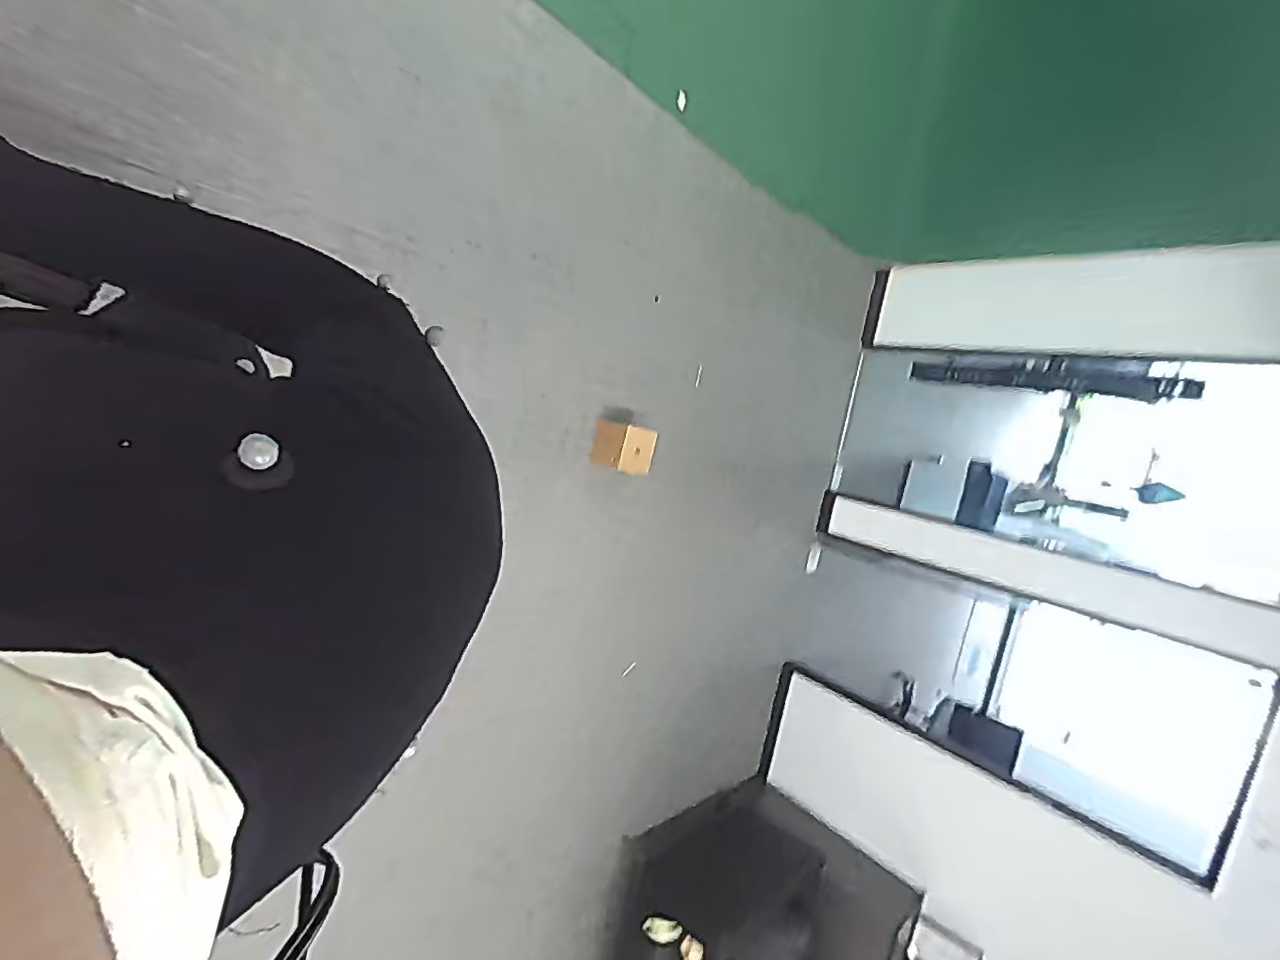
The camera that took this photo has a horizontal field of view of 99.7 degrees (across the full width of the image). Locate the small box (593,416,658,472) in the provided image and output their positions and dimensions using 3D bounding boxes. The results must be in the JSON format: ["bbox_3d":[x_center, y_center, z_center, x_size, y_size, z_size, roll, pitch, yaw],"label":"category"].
[{"bbox_3d":[-0.062,-0.142,2.103,0.168,0.176,0.179,8,98,-45],"label":"small box"}]
